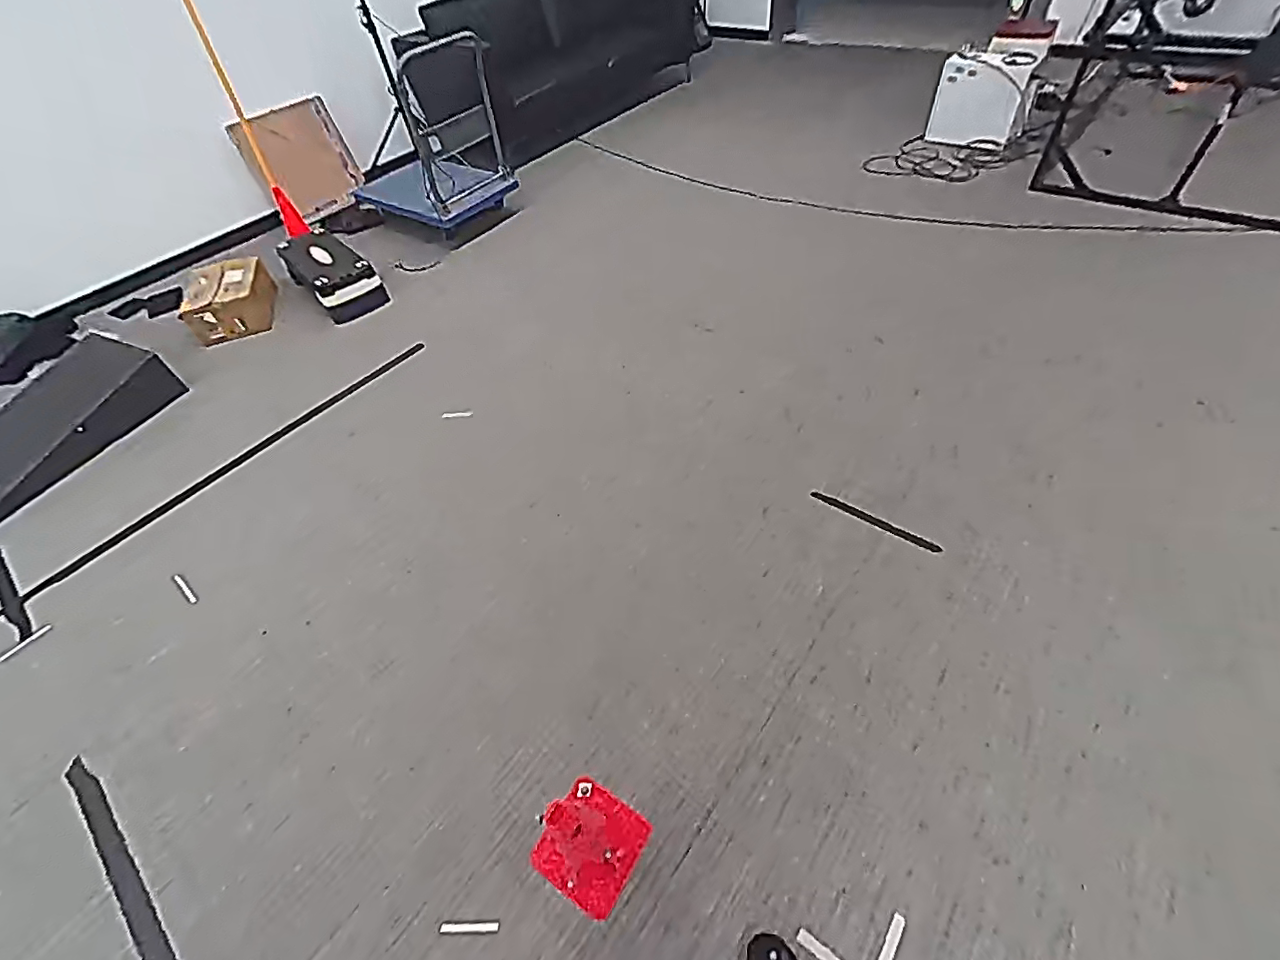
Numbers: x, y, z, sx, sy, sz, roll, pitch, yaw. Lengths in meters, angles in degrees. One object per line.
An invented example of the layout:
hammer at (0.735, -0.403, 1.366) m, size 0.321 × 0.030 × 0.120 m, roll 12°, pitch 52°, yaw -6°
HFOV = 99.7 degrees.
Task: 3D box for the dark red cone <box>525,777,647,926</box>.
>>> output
dark red cone at (-0.124, 0.647, 0.982) m, size 0.202 × 0.394 × 0.201 m, roll 22°, pitch 57°, yaw 24°
